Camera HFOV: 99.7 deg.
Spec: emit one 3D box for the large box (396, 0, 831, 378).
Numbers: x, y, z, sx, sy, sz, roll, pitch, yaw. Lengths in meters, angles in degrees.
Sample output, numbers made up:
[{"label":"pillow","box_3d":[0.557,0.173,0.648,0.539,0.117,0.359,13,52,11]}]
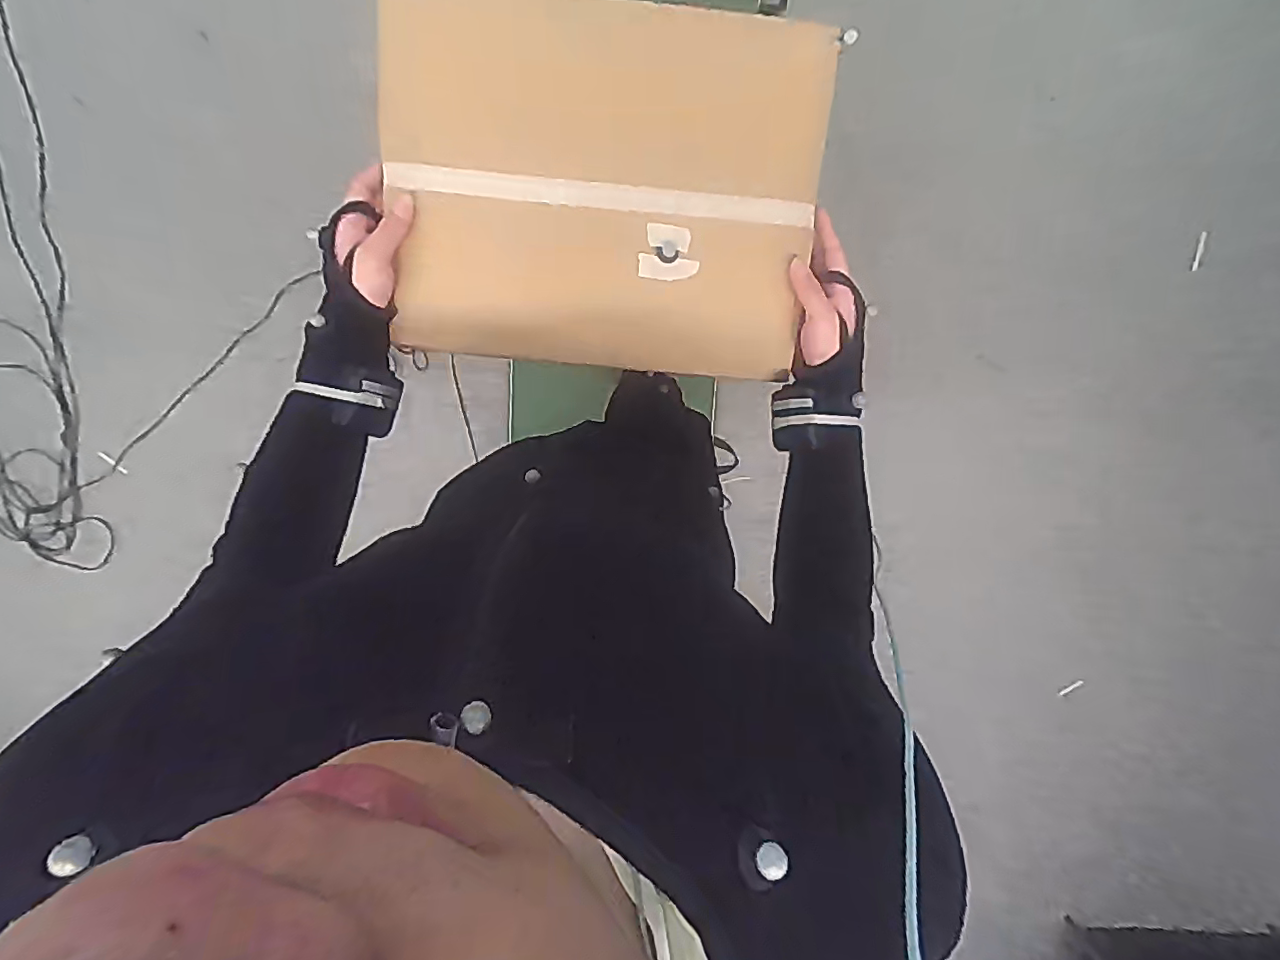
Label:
[{"label":"large box","box_3d":[-0.037,-0.303,0.668,0.408,0.320,0.320,5,105,-3]}]
